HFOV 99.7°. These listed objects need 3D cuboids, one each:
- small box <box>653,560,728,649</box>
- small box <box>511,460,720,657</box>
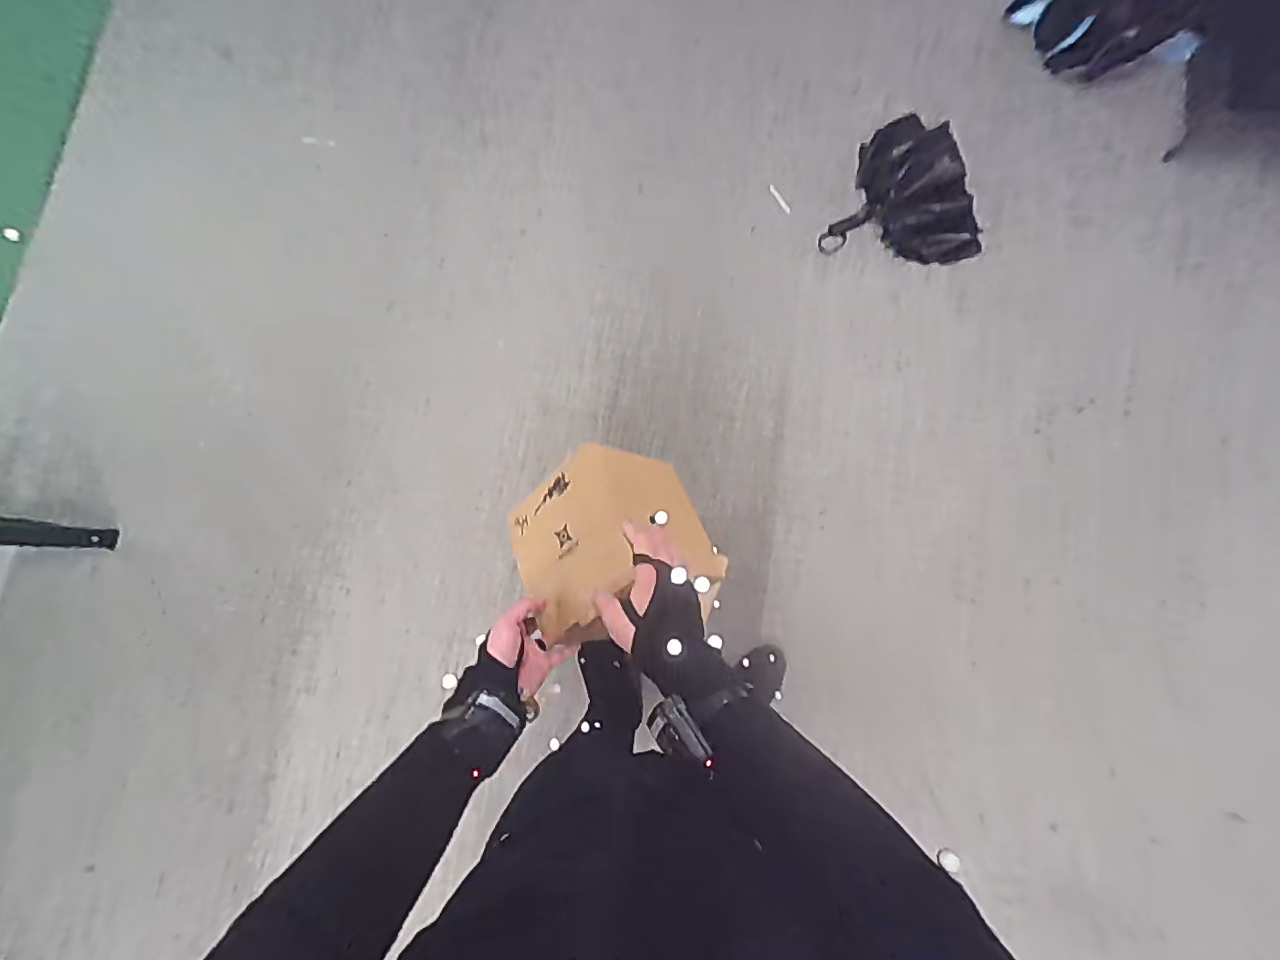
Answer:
[{"bbox_3d":[0.076,0.235,1.153,0.168,0.176,0.179,21,84,9],"label":"small box"},{"bbox_3d":[-0.028,0.098,0.682,0.168,0.176,0.179,-40,60,26],"label":"small box"}]
